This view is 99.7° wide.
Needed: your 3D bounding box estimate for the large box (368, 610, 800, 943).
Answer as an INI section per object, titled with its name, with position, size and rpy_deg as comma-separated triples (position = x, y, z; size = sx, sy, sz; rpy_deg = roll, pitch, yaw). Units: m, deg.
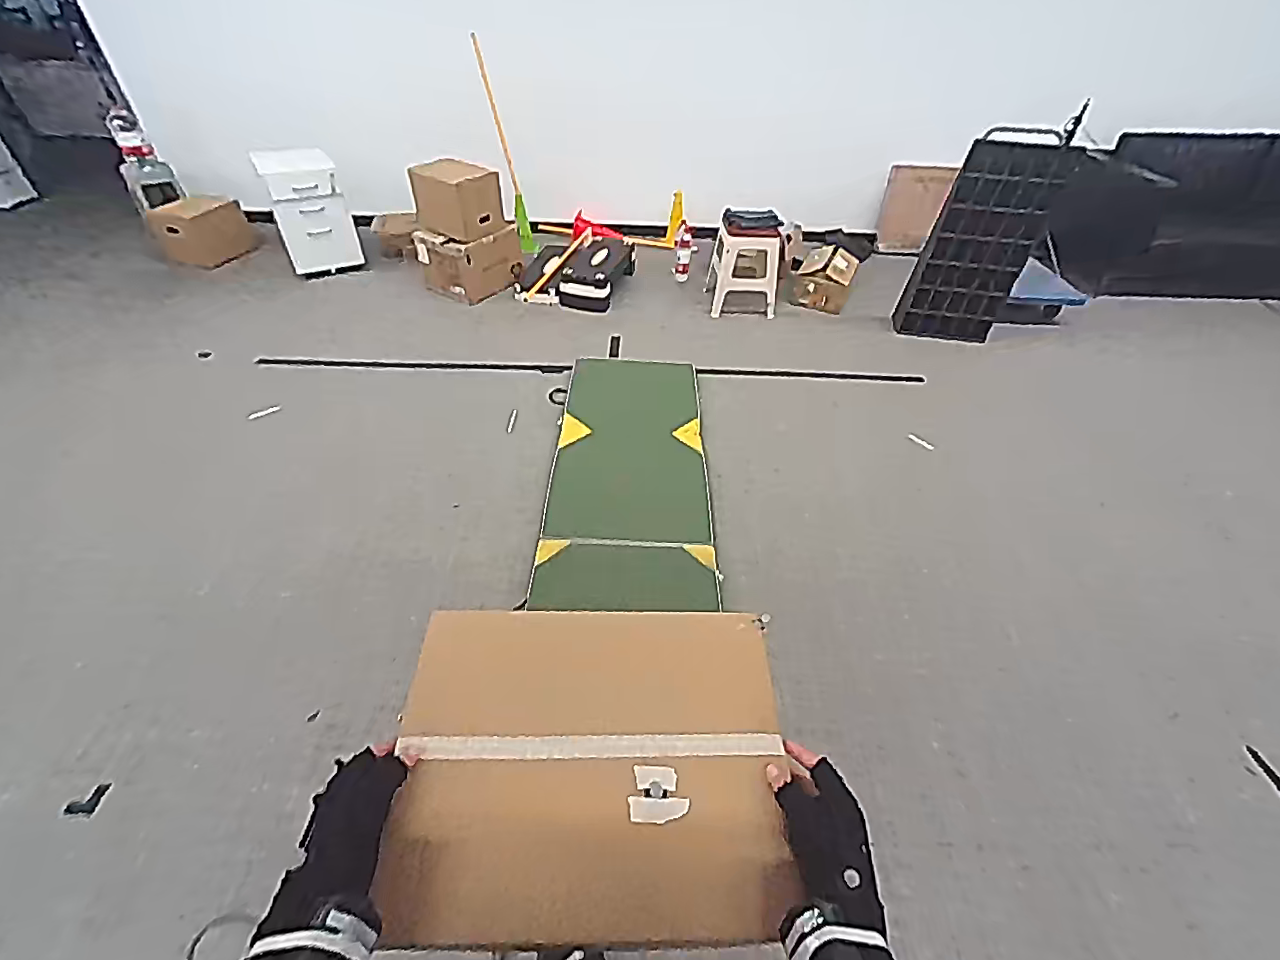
[large box]
position = -0.061, 0.382, 0.699
size = 0.408, 0.320, 0.320
rpy_deg = 1, 48, -3
